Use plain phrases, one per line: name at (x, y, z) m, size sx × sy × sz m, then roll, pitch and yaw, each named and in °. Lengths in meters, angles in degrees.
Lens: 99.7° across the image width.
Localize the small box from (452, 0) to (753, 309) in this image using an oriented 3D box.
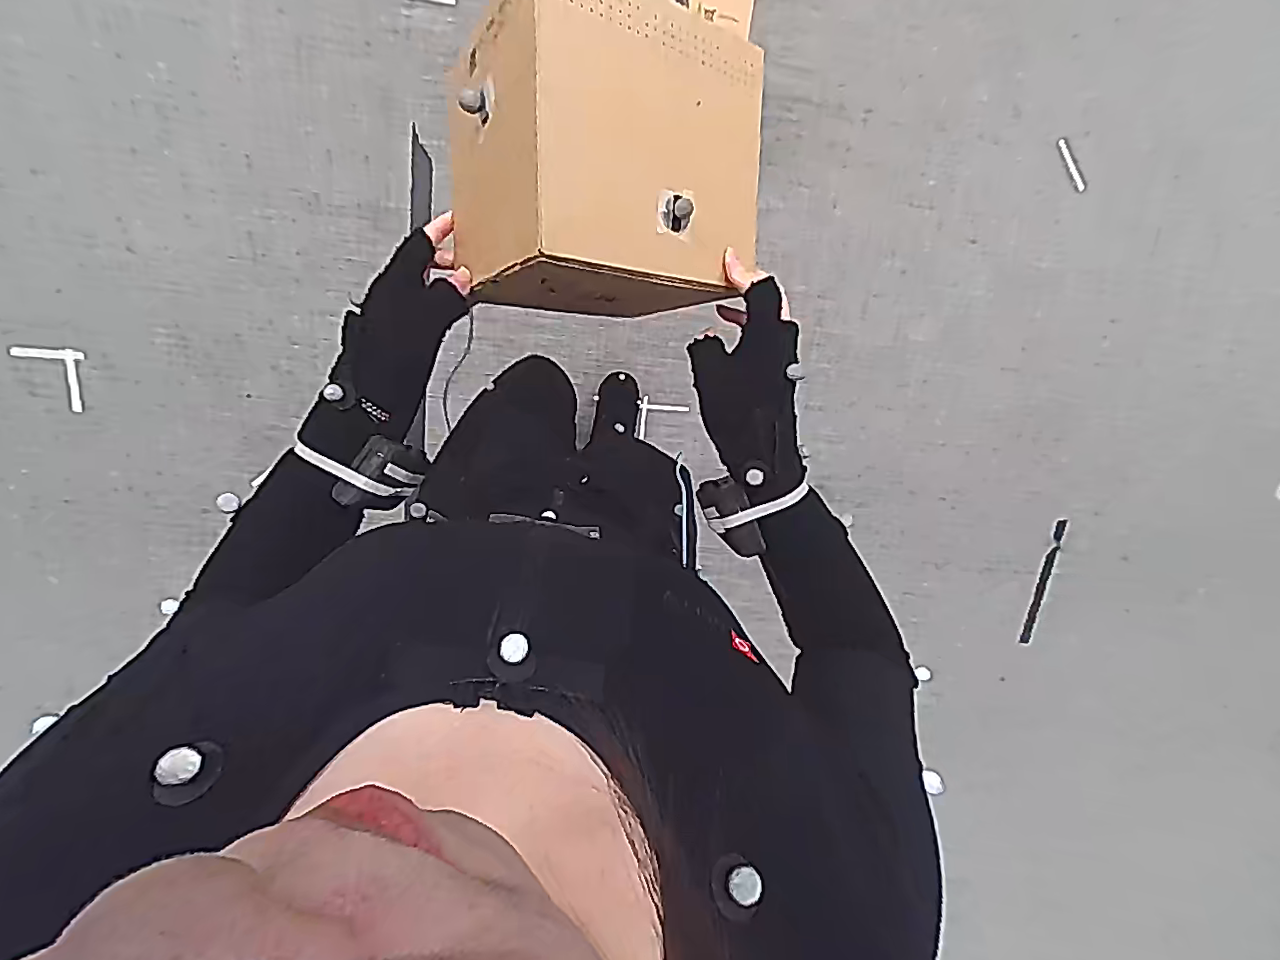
small box at (-0.030, -0.231, 0.408) m, size 0.179 × 0.168 × 0.176 m, roll -5°, pitch 100°, yaw -34°
